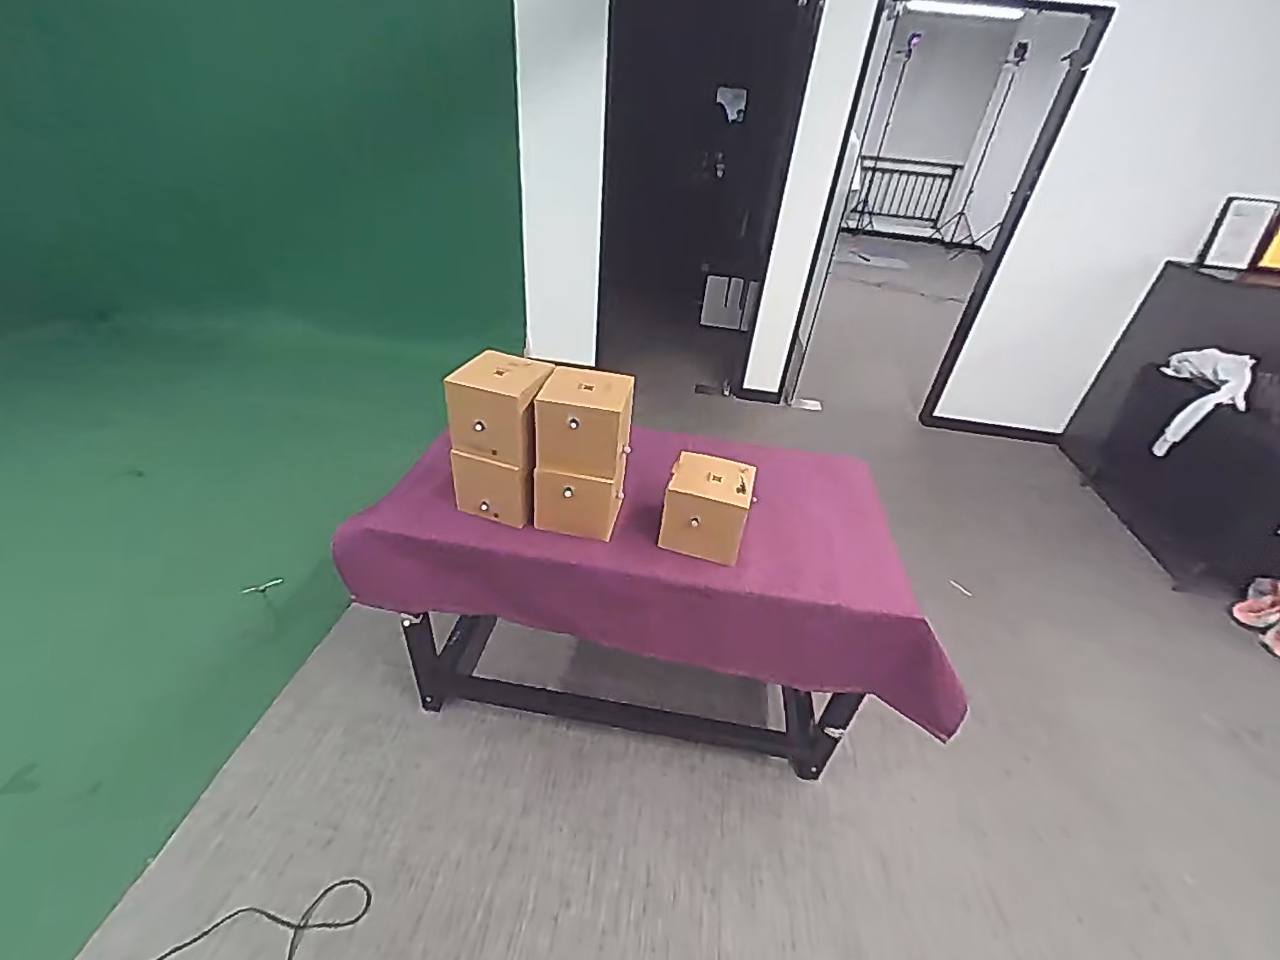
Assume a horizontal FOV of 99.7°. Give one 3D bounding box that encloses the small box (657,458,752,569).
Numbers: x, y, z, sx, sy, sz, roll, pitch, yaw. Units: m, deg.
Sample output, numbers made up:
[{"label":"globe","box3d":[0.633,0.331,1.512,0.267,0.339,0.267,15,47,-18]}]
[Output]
[{"label":"small box","box3d":[0.142,0.076,1.216,0.179,0.176,0.168,13,35,10]}]
